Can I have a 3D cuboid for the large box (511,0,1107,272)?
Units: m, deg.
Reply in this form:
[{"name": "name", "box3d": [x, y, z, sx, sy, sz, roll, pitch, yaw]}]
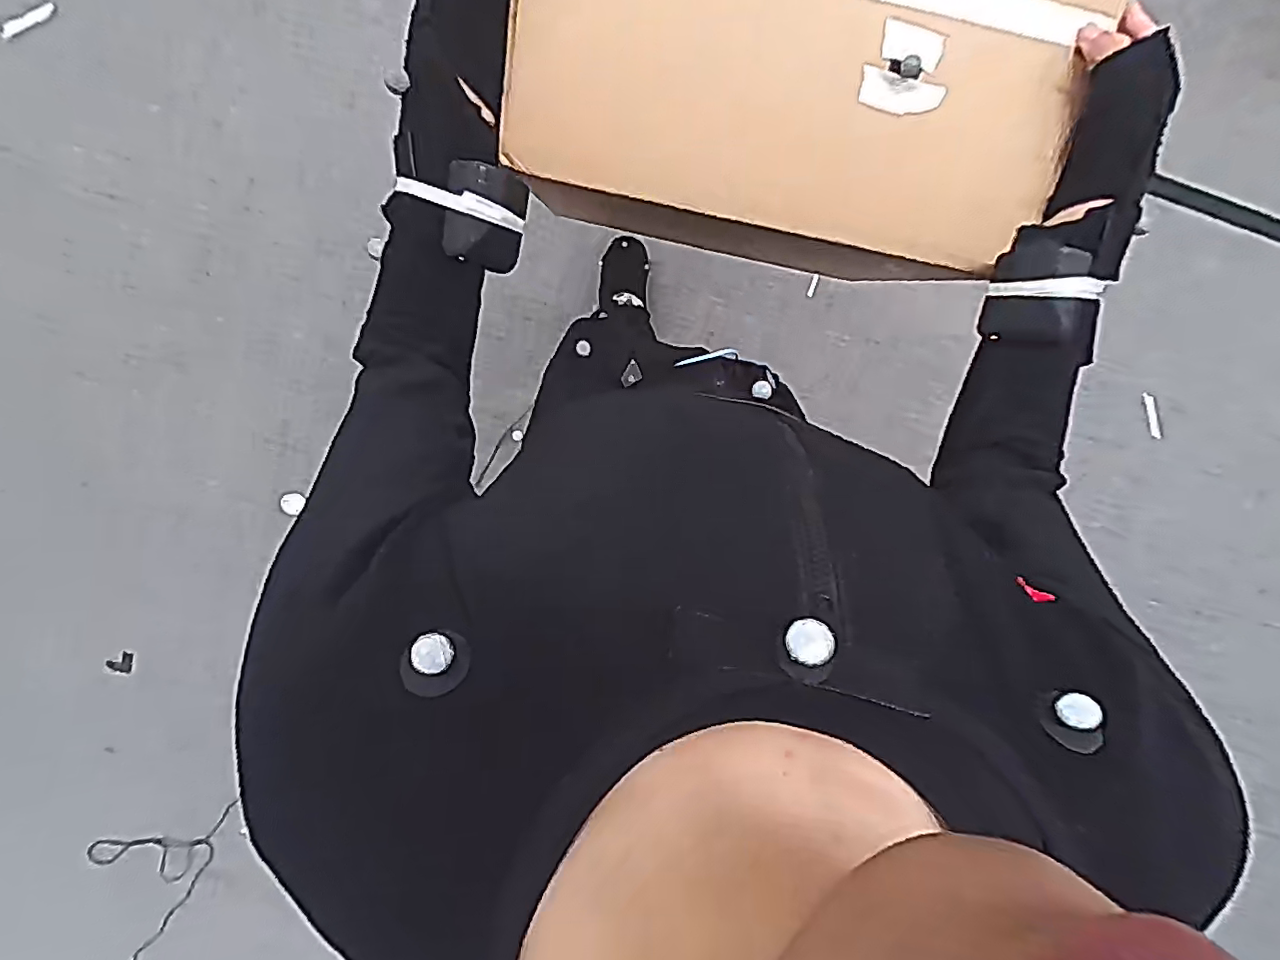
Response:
[{"name": "large box", "box3d": [0.116, -0.392, 0.504, 0.408, 0.320, 0.320, 9, 111, -7]}]
